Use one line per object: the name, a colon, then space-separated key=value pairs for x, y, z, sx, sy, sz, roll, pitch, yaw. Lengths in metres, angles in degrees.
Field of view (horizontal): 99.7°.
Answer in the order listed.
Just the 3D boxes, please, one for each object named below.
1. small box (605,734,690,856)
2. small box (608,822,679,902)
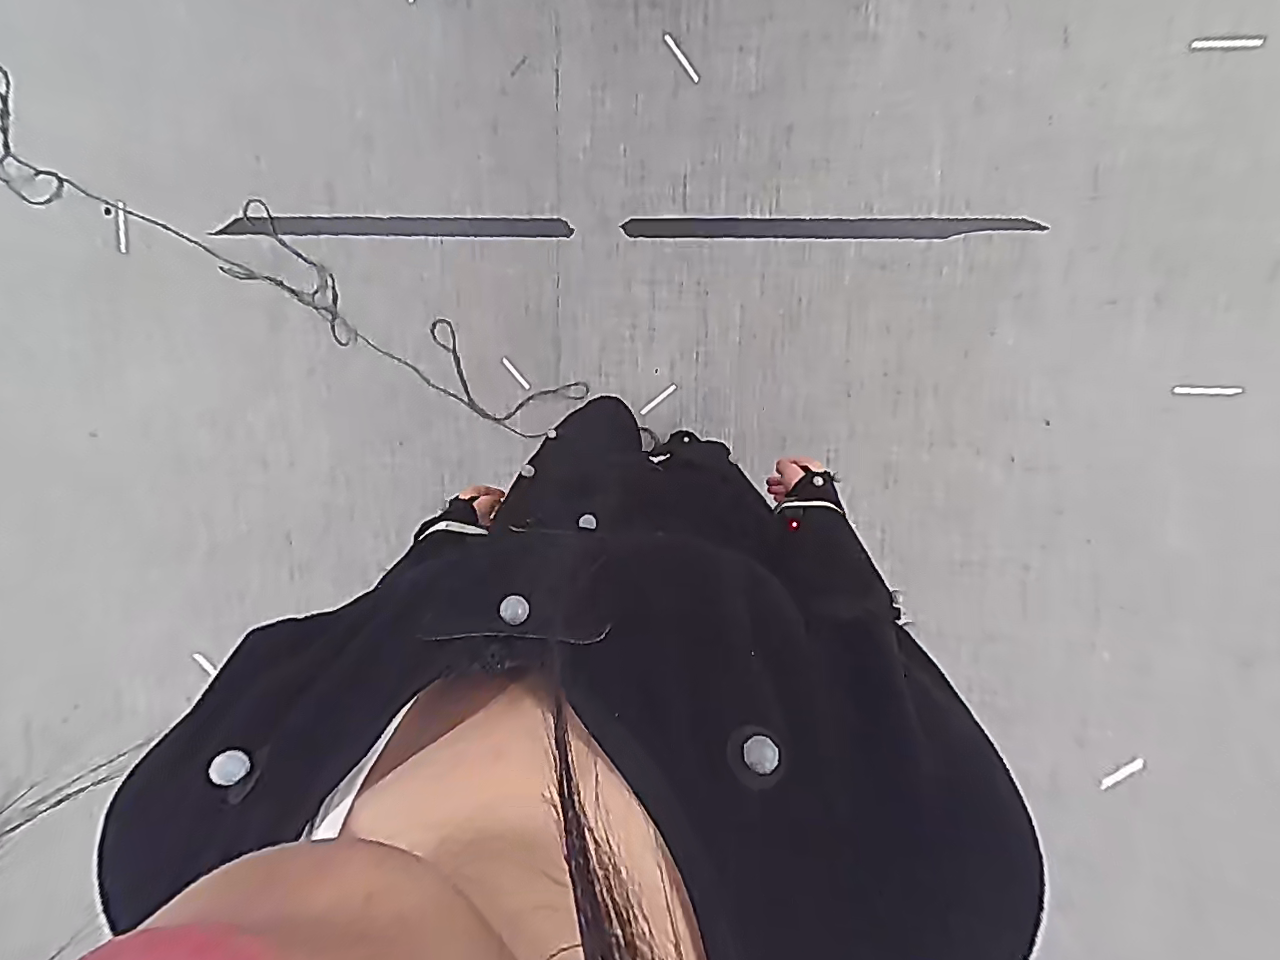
small box: x=0.022 y=0.737 z=1.279 sx=0.168 sy=0.176 sz=0.179 roll=-12 pitch=94 yaw=4
small box: x=0.015 y=0.995 z=1.470 sx=0.168 sy=0.176 sz=0.179 roll=-8 pitch=94 yaw=4
